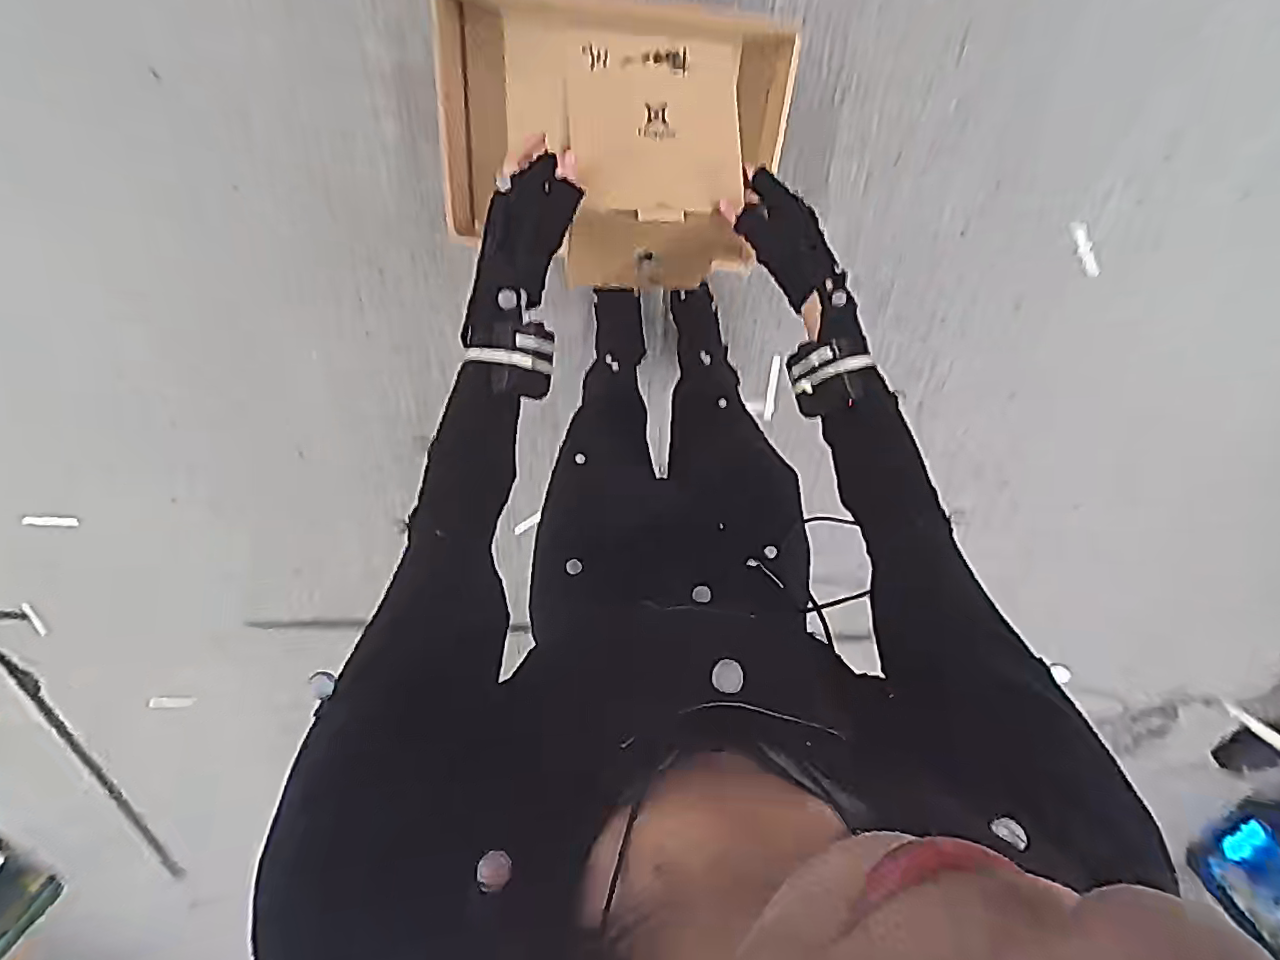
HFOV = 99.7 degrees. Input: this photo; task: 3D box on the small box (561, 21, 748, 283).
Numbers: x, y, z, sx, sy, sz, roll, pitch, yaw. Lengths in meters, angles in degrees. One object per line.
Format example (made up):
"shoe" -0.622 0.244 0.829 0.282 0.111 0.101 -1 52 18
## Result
"small box" 0.004 -0.322 0.570 0.168 0.176 0.179 -3 87 -10
